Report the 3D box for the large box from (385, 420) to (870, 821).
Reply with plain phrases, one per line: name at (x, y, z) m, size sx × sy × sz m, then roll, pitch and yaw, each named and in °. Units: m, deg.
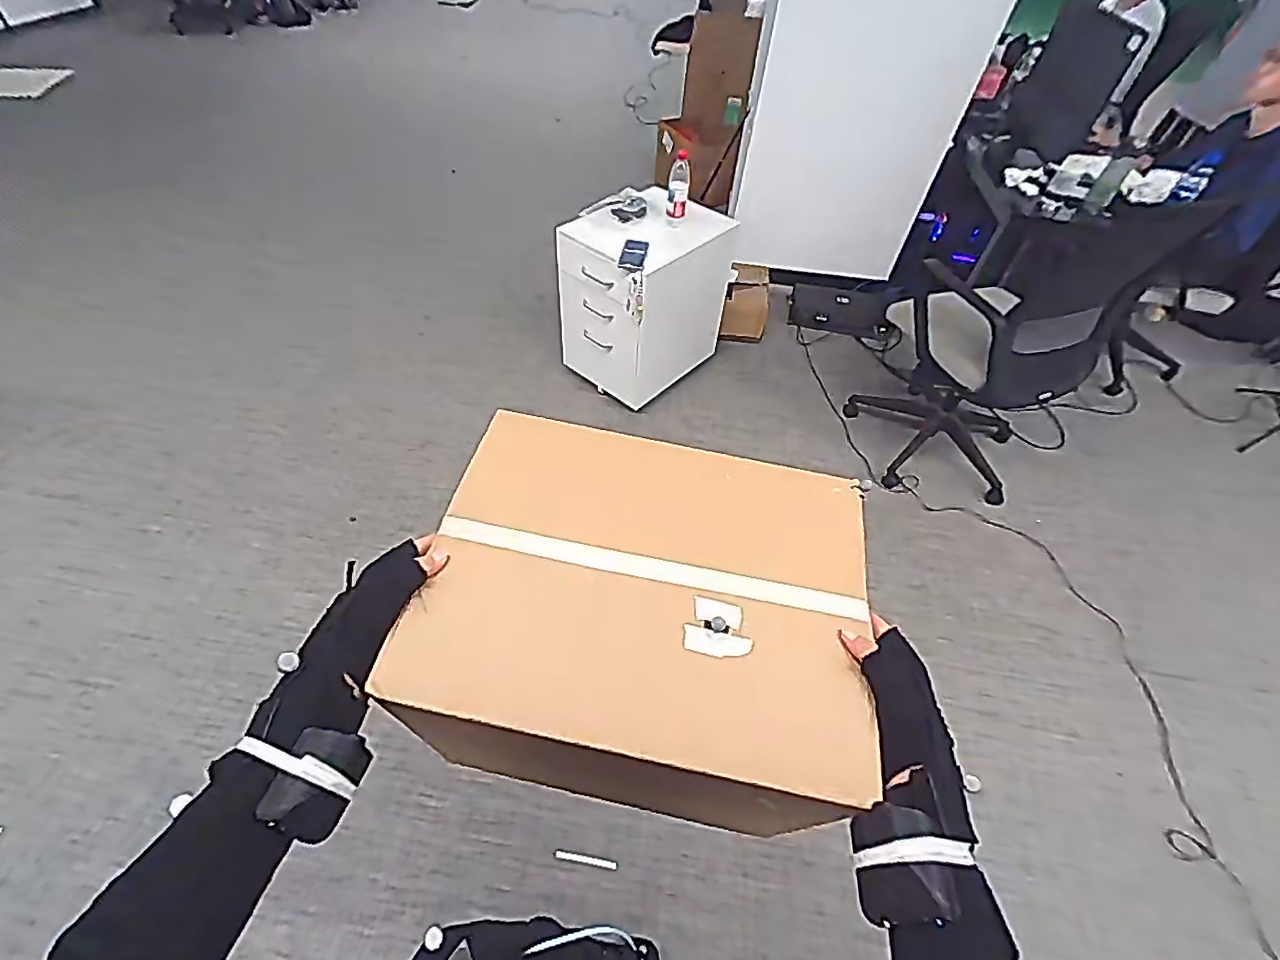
large box at (-0.002, 0.174, 0.634) m, size 0.408 × 0.320 × 0.320 m, roll 12°, pitch 55°, yaw 2°
